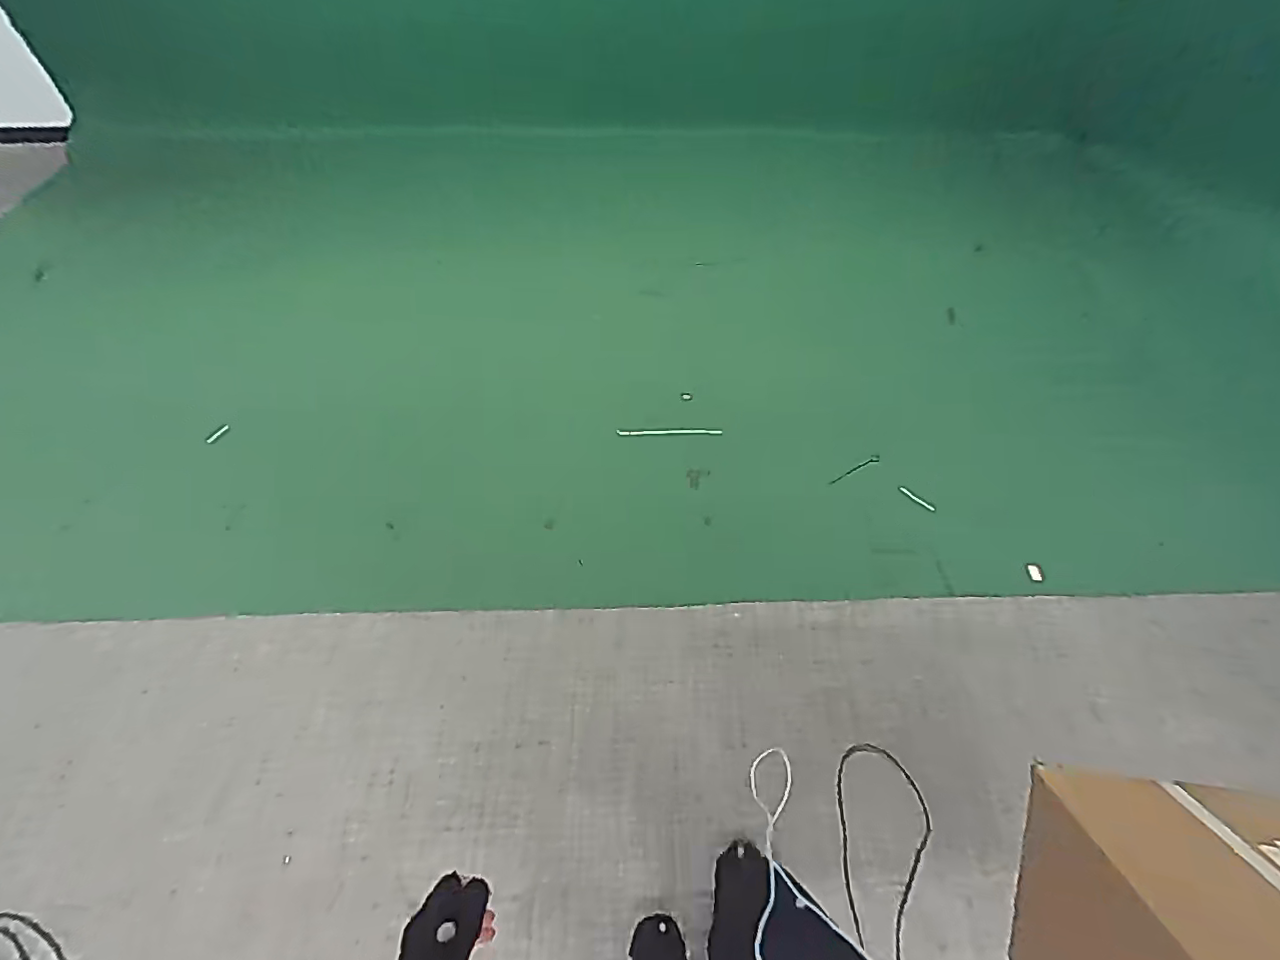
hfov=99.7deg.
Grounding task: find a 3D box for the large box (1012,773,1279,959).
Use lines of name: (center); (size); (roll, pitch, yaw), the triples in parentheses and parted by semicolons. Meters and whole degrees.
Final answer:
large box: (0.670, 0.597, 0.573); (0.320, 0.408, 0.320); (4, 96, 10)
